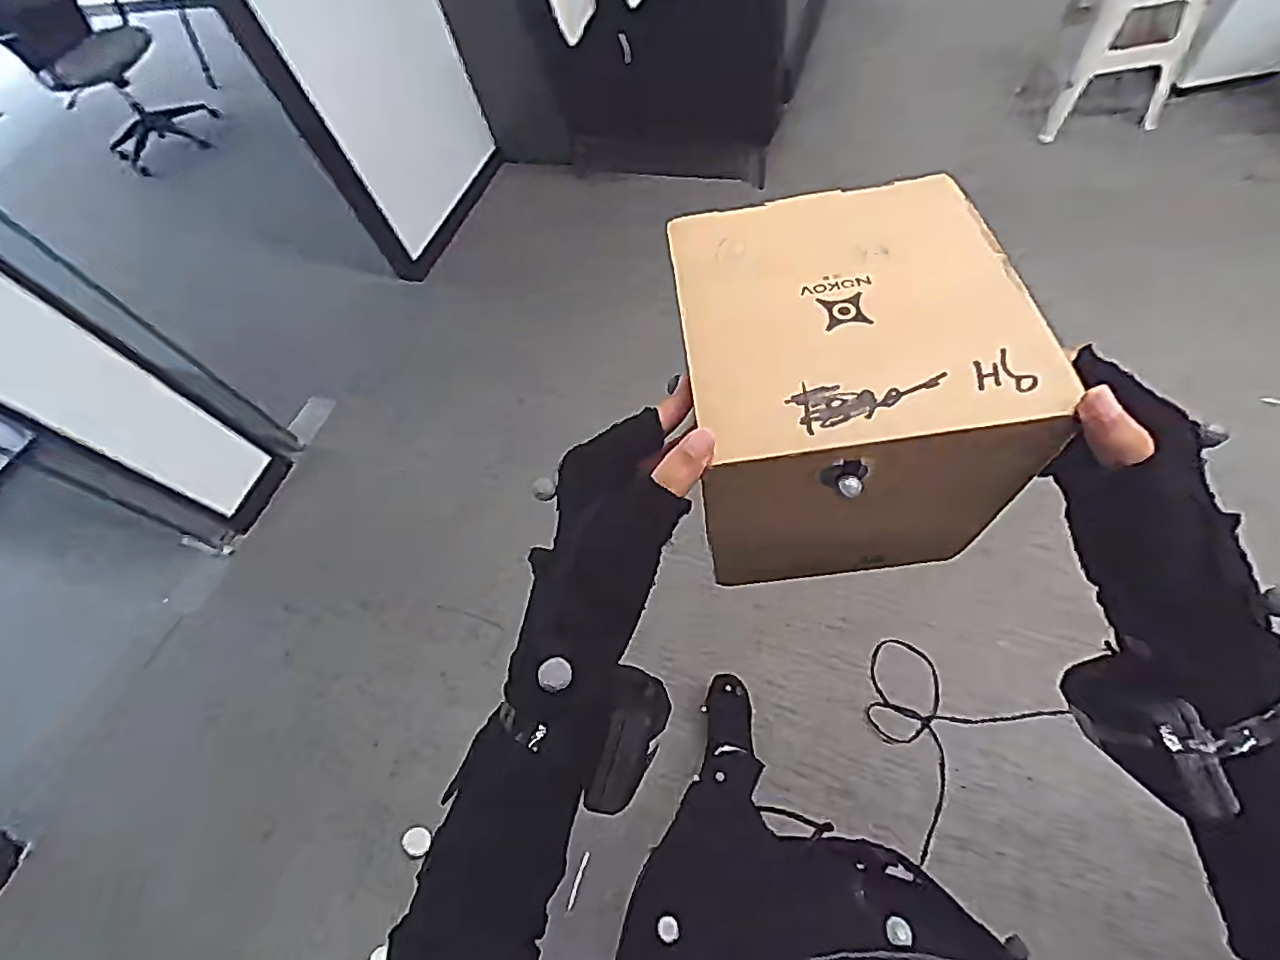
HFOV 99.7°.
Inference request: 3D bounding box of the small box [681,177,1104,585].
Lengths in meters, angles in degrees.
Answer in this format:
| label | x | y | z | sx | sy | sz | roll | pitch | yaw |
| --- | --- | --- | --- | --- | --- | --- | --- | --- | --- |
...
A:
| label | x | y | z | sx | sy | sz | roll | pitch | yaw |
| --- | --- | --- | --- | --- | --- | --- | --- | --- | --- |
| small box | 0.119 | -0.050 | 0.342 | 0.168 | 0.176 | 0.179 | -8 | 59 | 6 |
